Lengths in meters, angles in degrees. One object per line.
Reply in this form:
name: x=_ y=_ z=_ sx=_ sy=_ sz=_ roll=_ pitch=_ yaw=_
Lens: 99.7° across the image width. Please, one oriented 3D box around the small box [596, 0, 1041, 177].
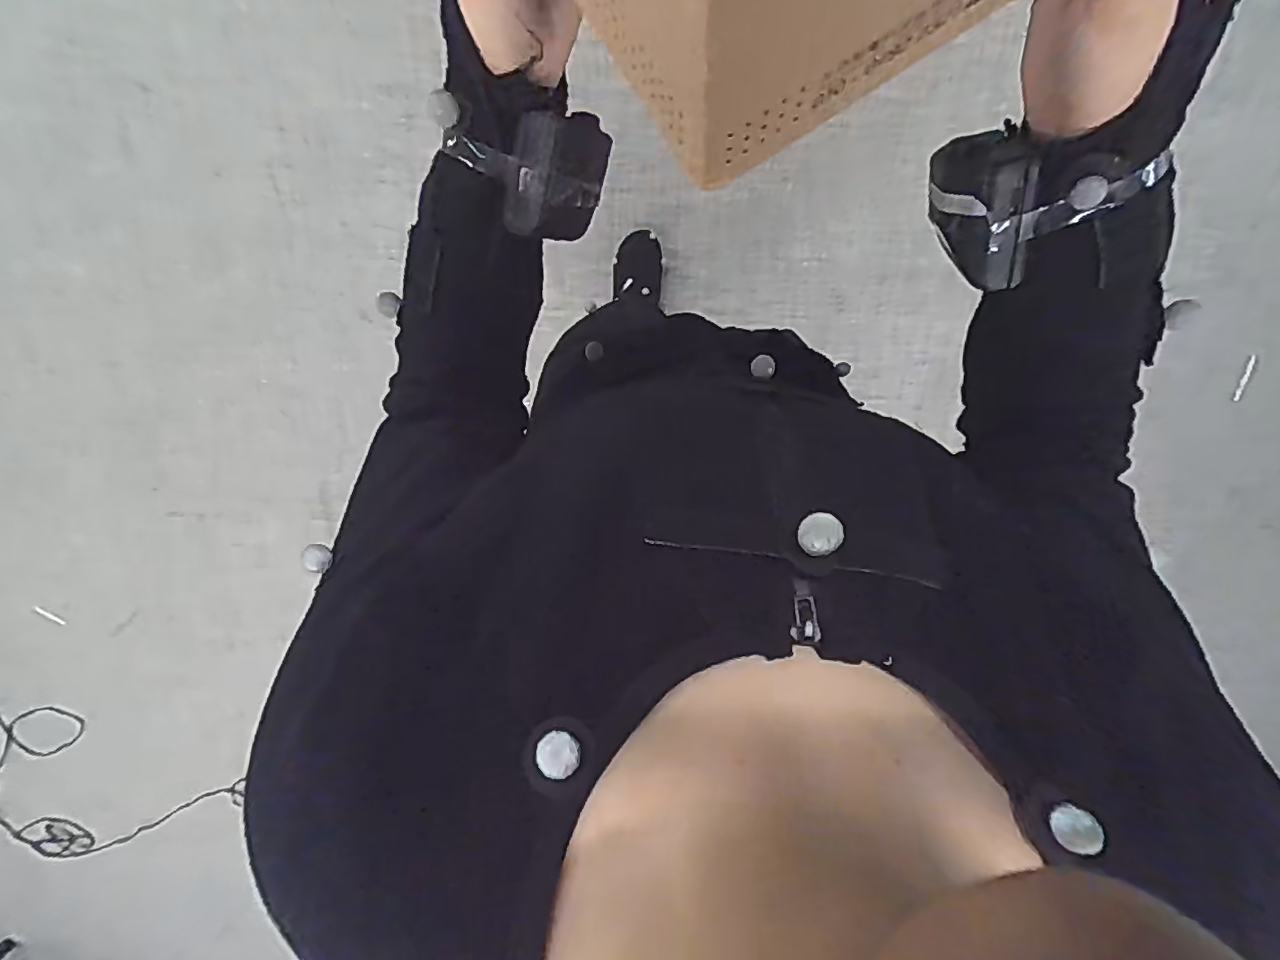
small box: x=0.045 y=-0.222 z=0.124 sx=0.168 sy=0.176 sz=0.179 roll=-32 pitch=85 yaw=5
